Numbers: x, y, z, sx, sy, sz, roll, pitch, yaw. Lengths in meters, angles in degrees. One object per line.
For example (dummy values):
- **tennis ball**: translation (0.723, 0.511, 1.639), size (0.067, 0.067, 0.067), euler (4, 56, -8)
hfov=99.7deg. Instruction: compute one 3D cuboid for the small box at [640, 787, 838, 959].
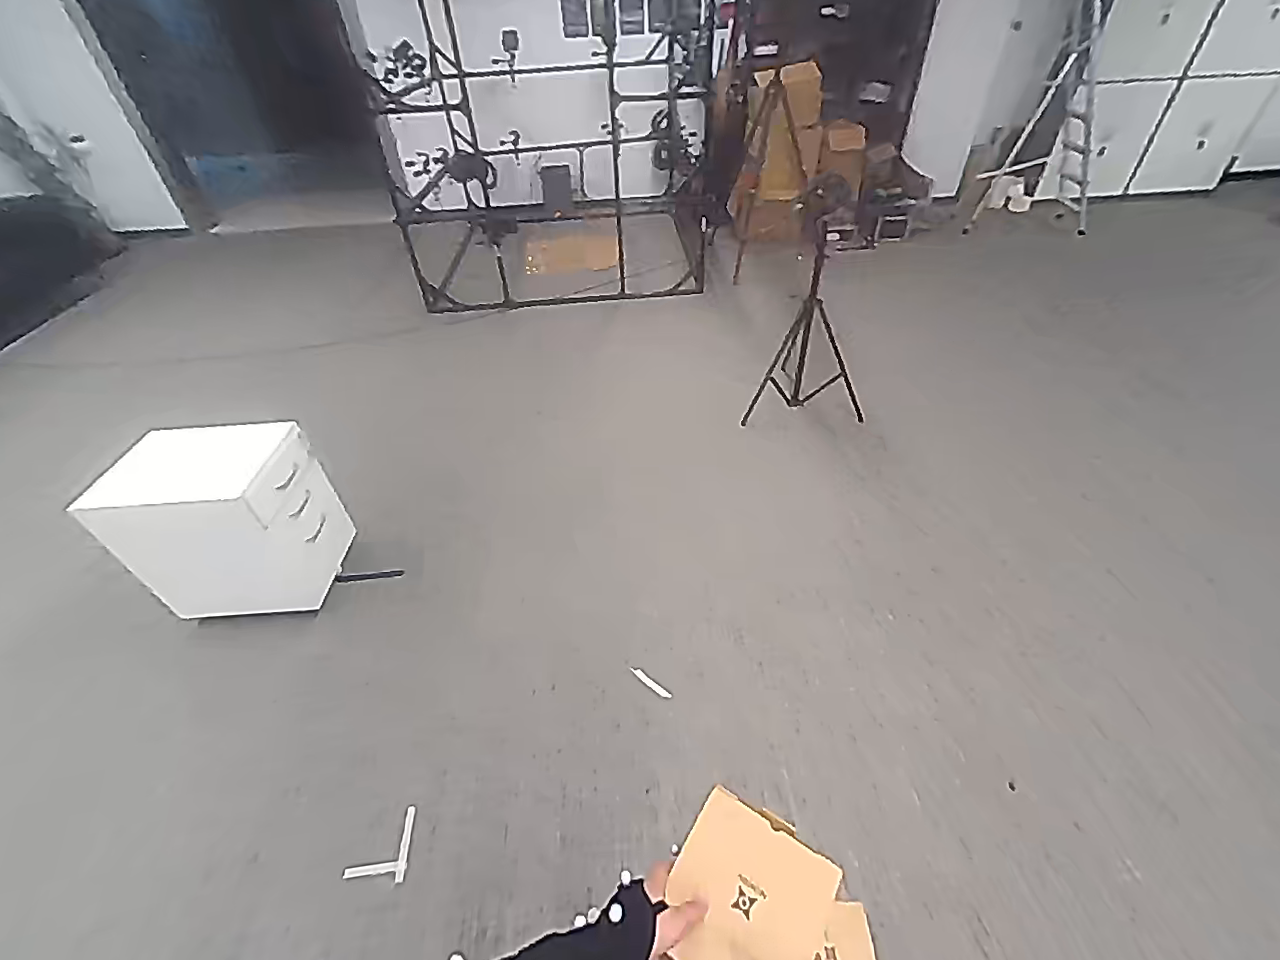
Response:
- **small box**: translation (0.109, 0.519, 0.645), size (0.168, 0.176, 0.179), euler (26, 48, 23)
